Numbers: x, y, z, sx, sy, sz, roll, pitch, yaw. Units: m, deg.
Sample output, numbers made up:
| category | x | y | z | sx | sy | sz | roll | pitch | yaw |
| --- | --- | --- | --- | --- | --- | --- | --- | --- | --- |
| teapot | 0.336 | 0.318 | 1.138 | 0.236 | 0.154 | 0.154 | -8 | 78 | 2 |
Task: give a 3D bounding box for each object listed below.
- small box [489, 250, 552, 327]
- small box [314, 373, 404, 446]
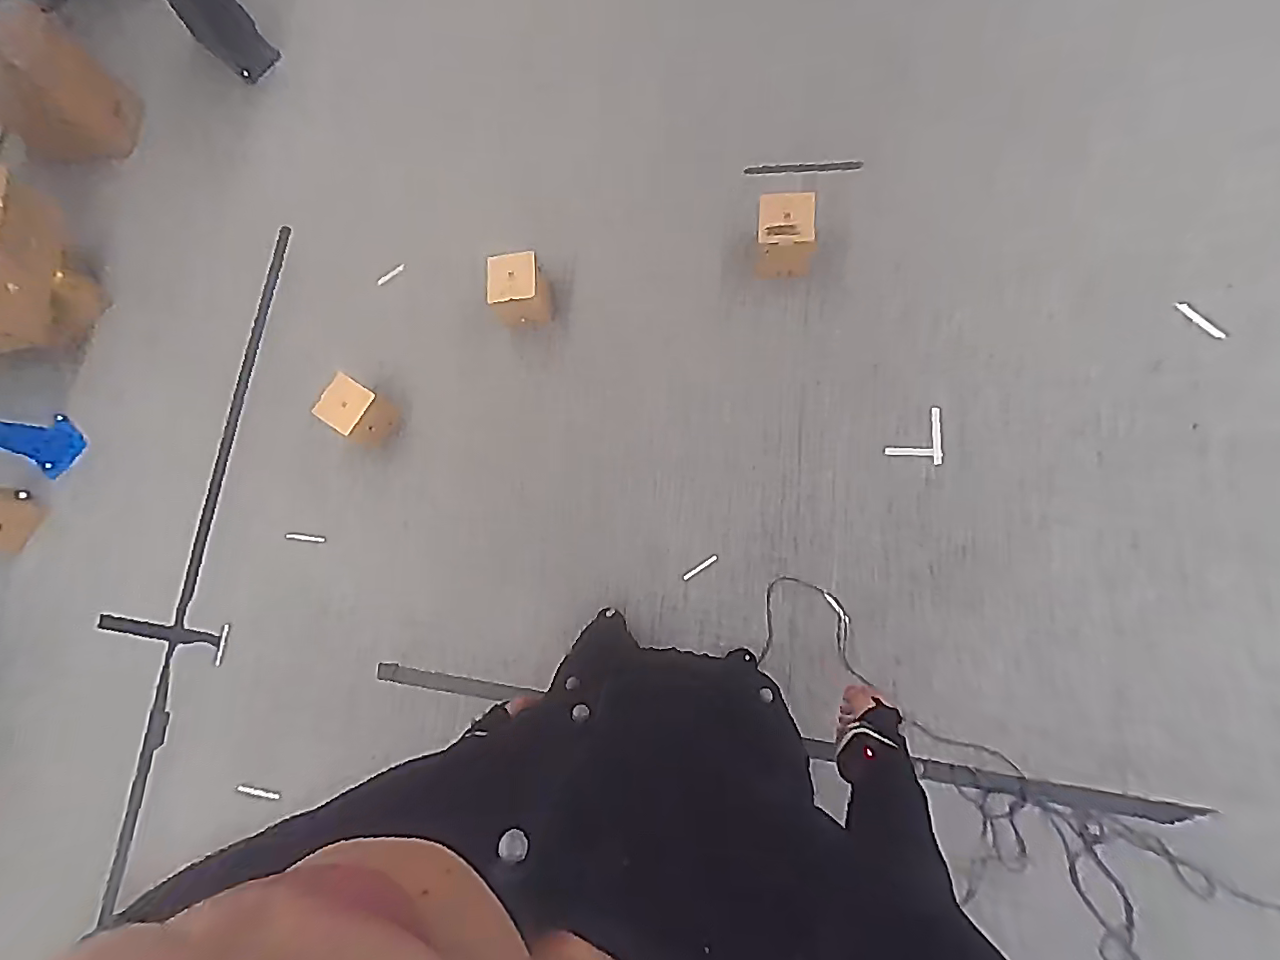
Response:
| category | x | y | z | sx | sy | sz | roll | pitch | yaw |
| --- | --- | --- | --- | --- | --- | --- | --- | --- | --- |
| small box | -0.403 | -0.646 | 1.838 | 0.168 | 0.176 | 0.179 | -5 | 77 | 8 |
| small box | -0.948 | -0.232 | 1.841 | 0.179 | 0.176 | 0.168 | 31 | 84 | 15 |
